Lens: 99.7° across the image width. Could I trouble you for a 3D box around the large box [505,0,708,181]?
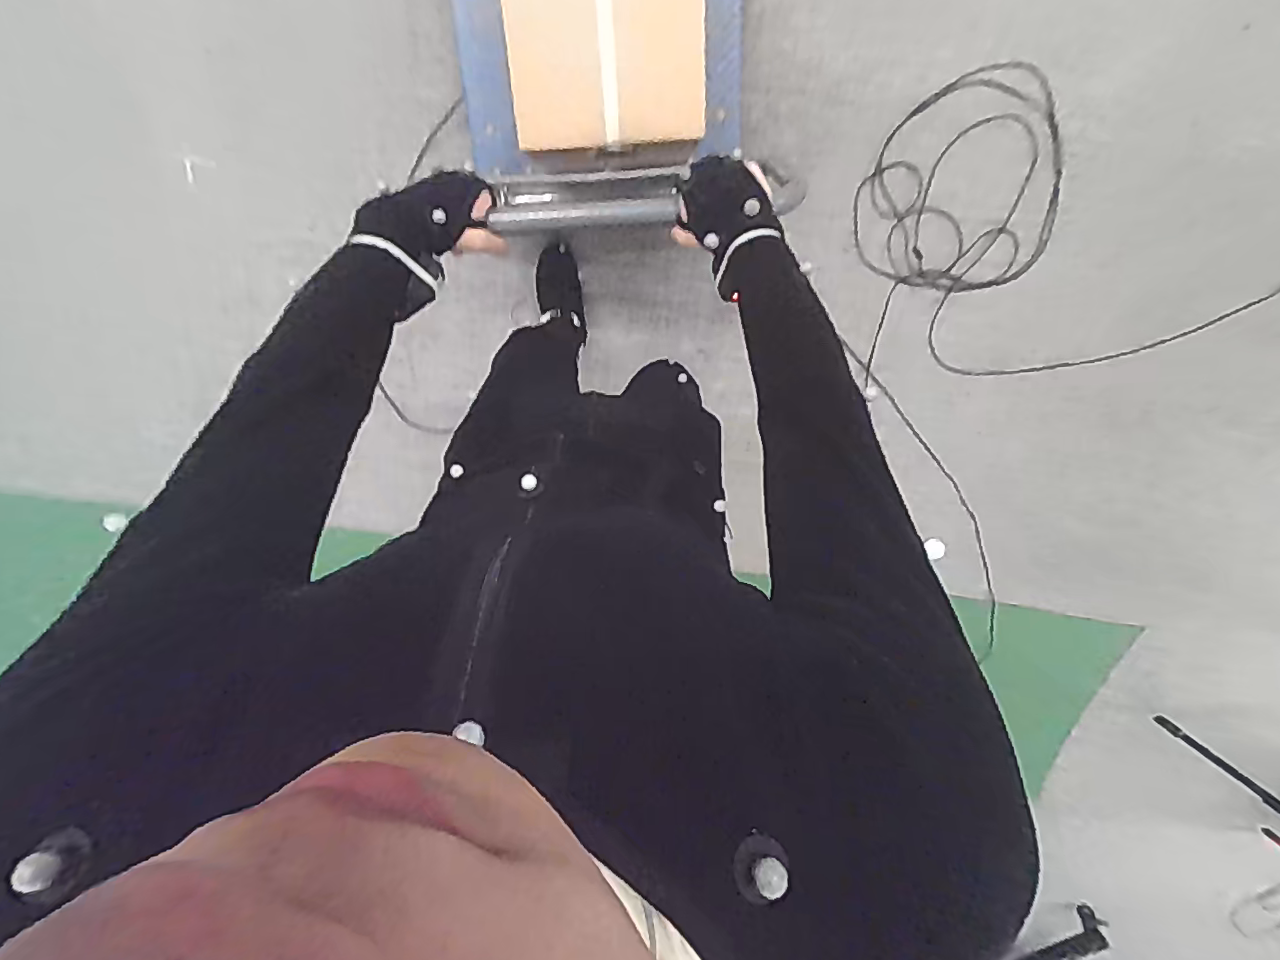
[{"bbox_3d":[-0.055,-0.791,0.970,0.320,0.320,0.408,-4,112,0],"label":"large box"}]
